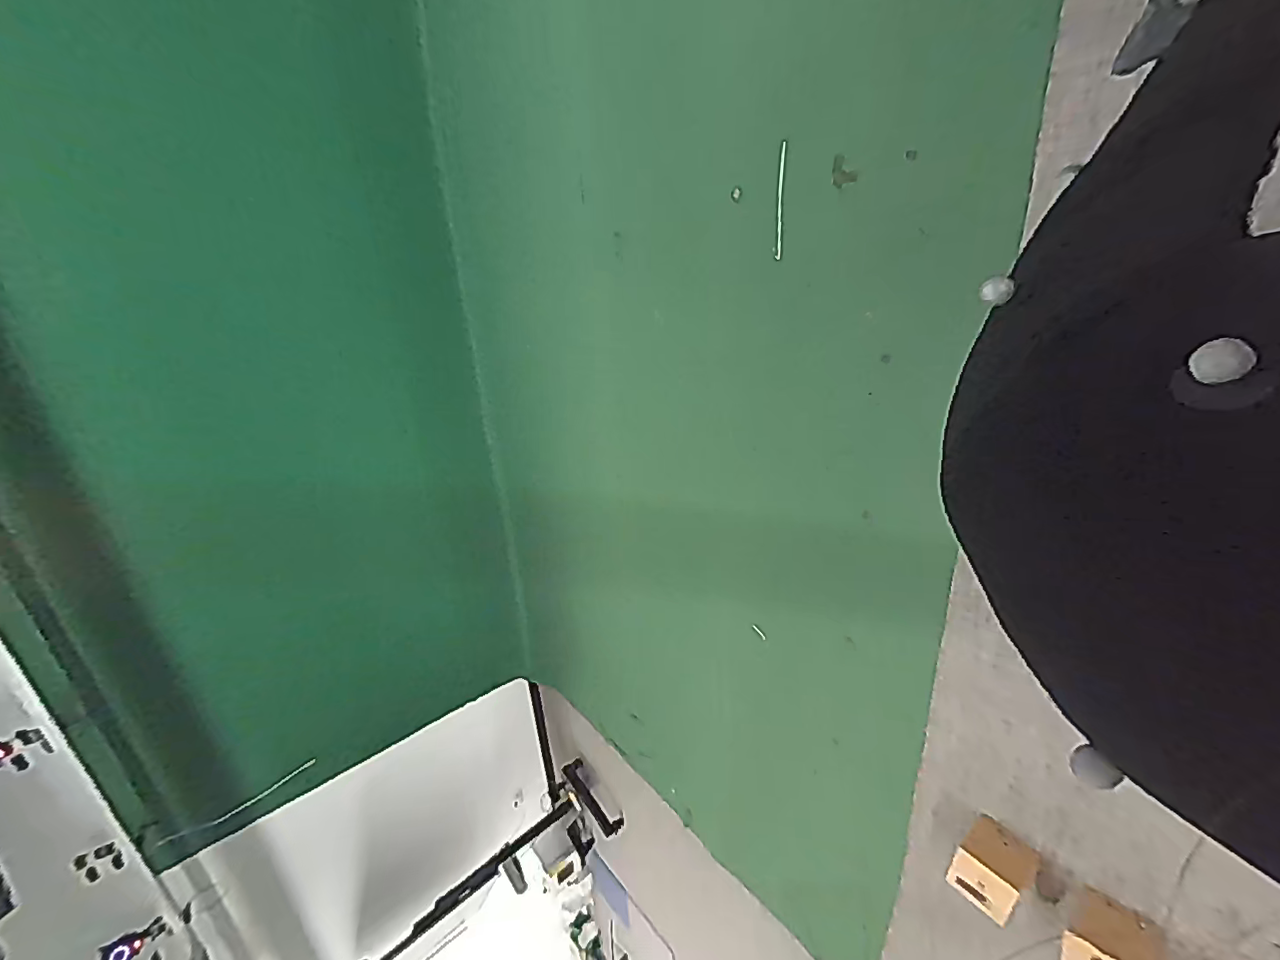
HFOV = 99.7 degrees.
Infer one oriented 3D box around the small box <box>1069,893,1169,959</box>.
[{"bbox_3d":[1.258,1.254,1.423,0.168,0.176,0.179,12,116,51],"label":"small box"}]
